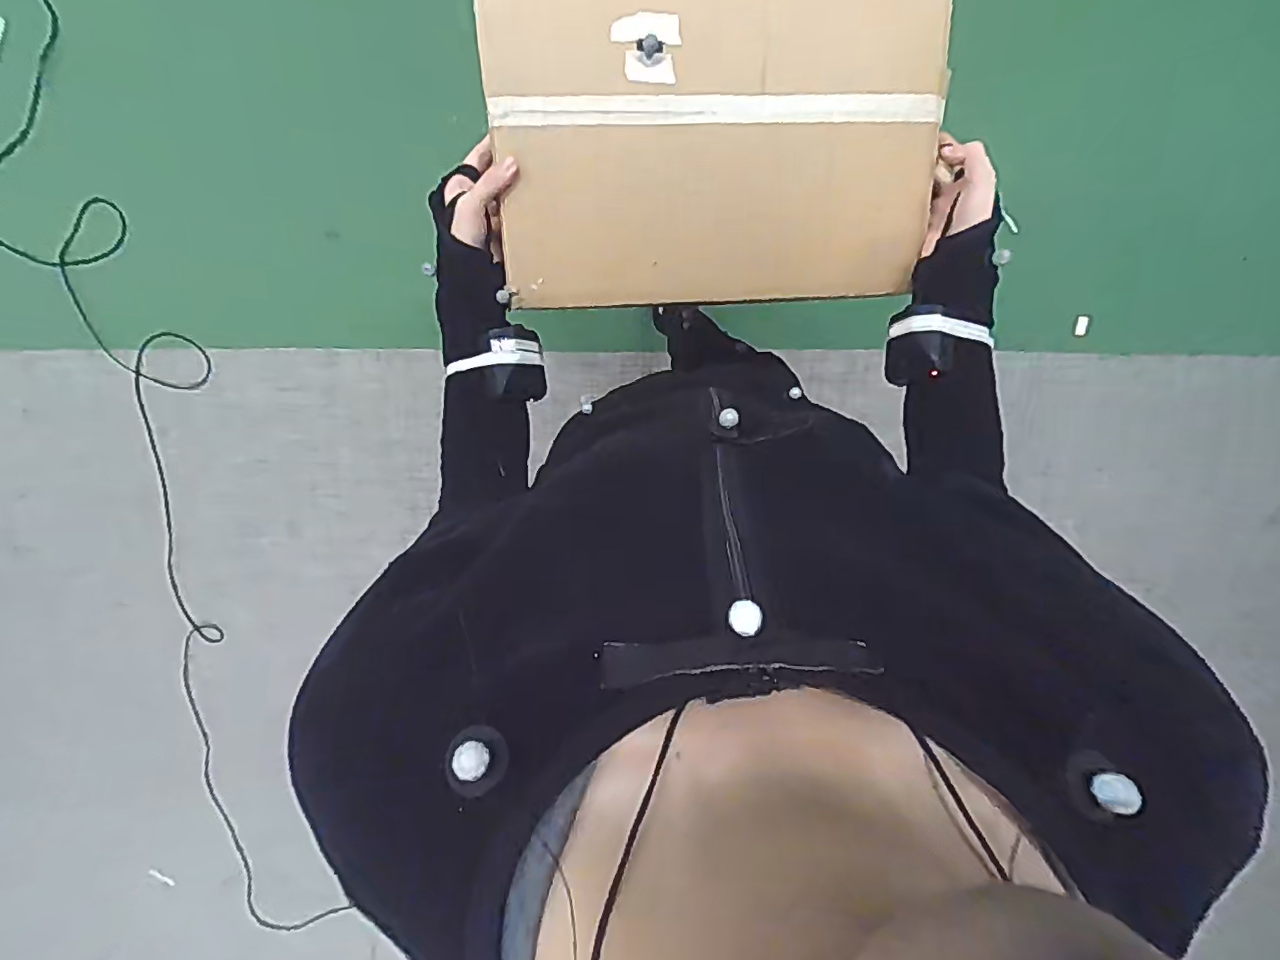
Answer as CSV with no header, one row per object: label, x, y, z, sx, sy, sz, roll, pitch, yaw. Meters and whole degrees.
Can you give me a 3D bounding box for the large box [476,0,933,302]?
large box,0.050,-0.379,0.627,0.408,0.320,0.320,-4,108,-6
